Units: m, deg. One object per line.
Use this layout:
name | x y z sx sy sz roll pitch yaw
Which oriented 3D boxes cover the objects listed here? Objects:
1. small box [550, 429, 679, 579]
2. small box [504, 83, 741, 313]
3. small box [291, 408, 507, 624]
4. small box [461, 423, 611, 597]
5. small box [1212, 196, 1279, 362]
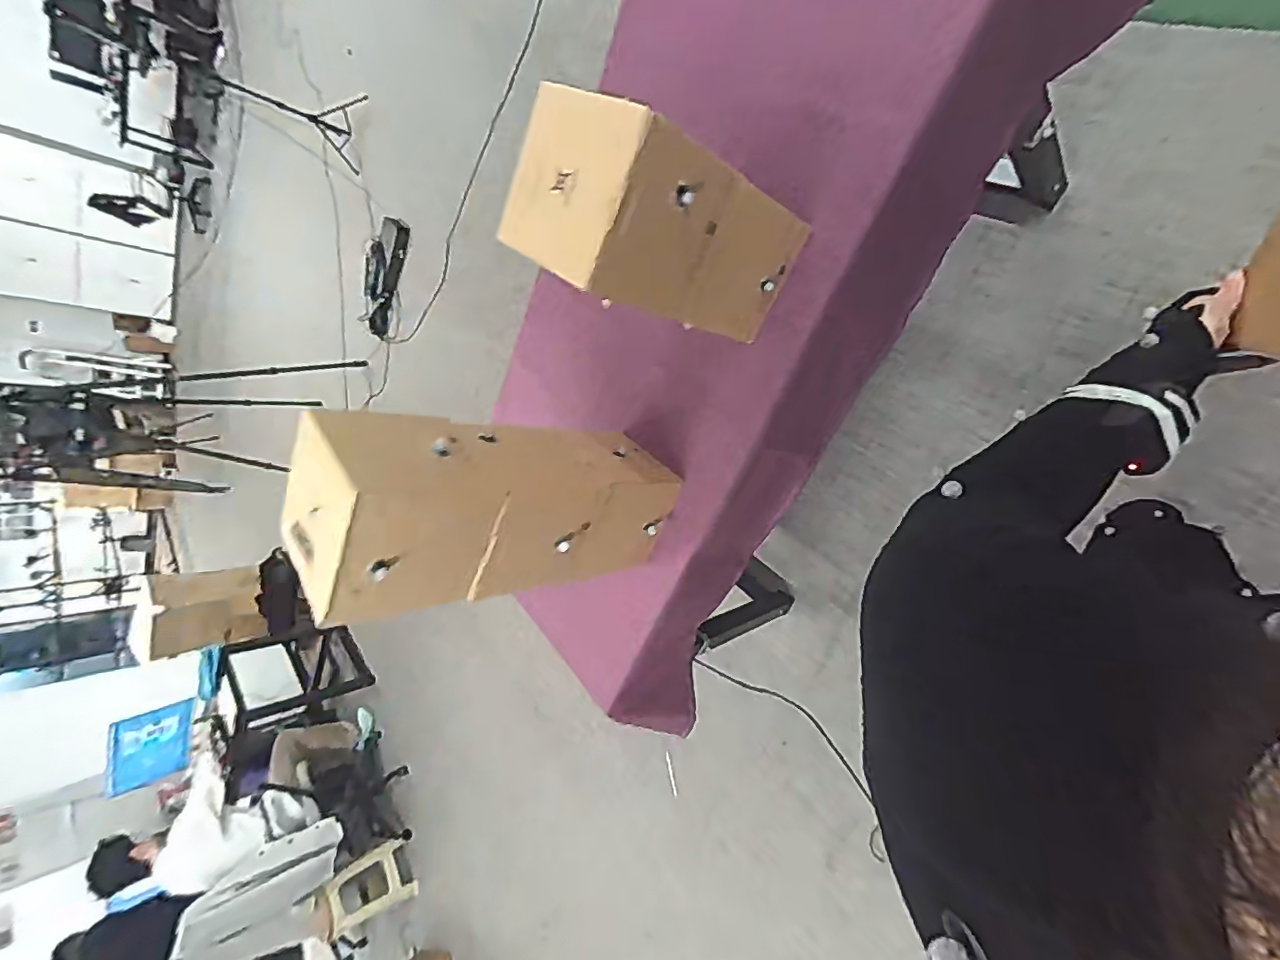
small box | -0.062 0.033 0.881 0.168 0.176 0.179 38 115 34
small box | -0.018 -0.303 0.609 0.179 0.176 0.168 40 116 33
small box | -0.282 0.036 0.635 0.168 0.176 0.179 42 117 32
small box | -0.174 0.035 0.760 0.179 0.176 0.168 40 117 33
small box | 0.581 -0.160 0.387 0.168 0.176 0.179 19 116 18
